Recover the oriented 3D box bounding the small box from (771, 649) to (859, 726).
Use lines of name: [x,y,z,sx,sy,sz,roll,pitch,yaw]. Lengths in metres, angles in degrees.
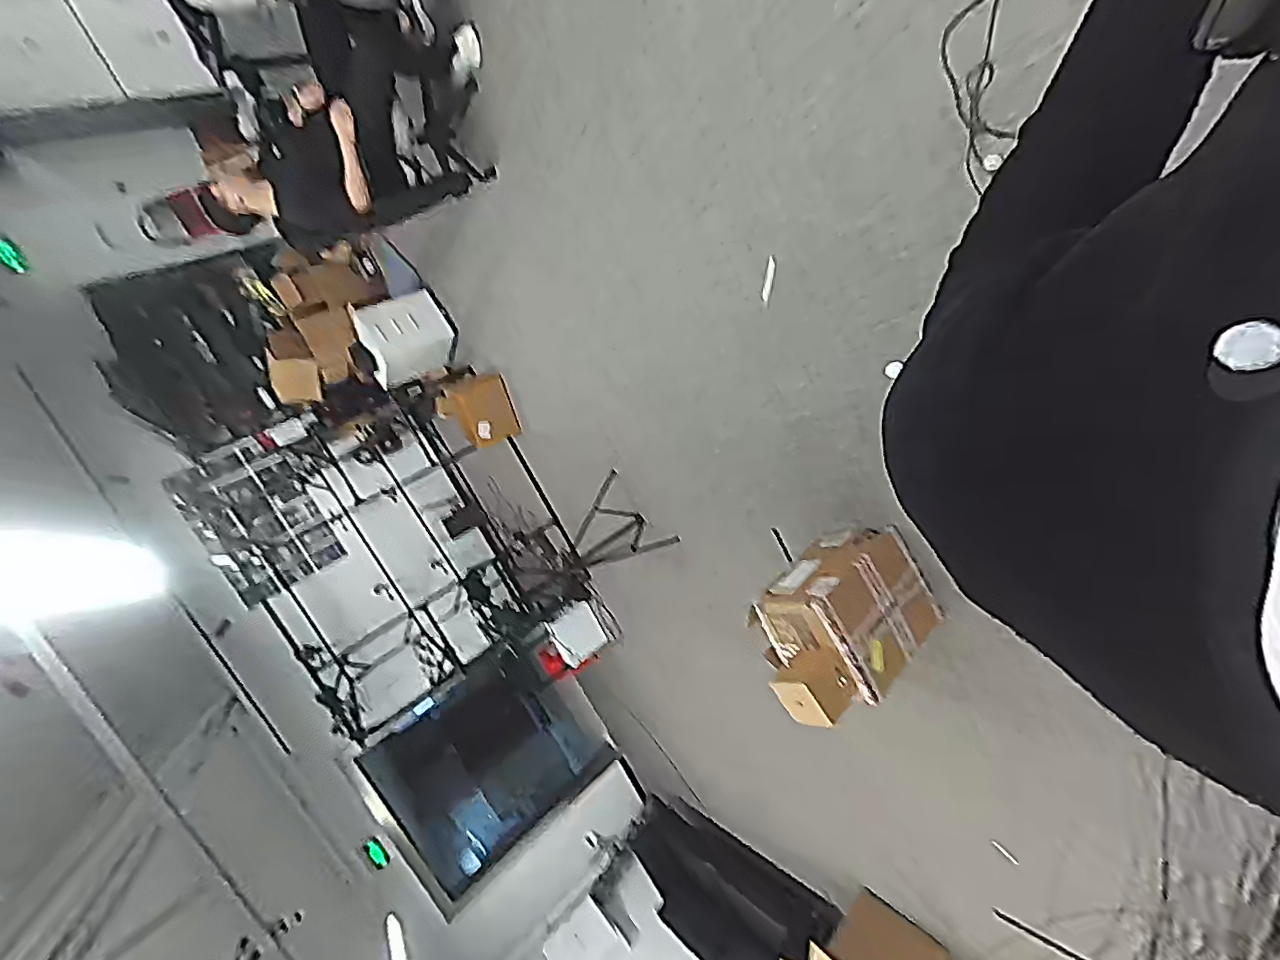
small box: [0.570,0.668,1.755,0.168,0.176,0.179,55,147,1]
